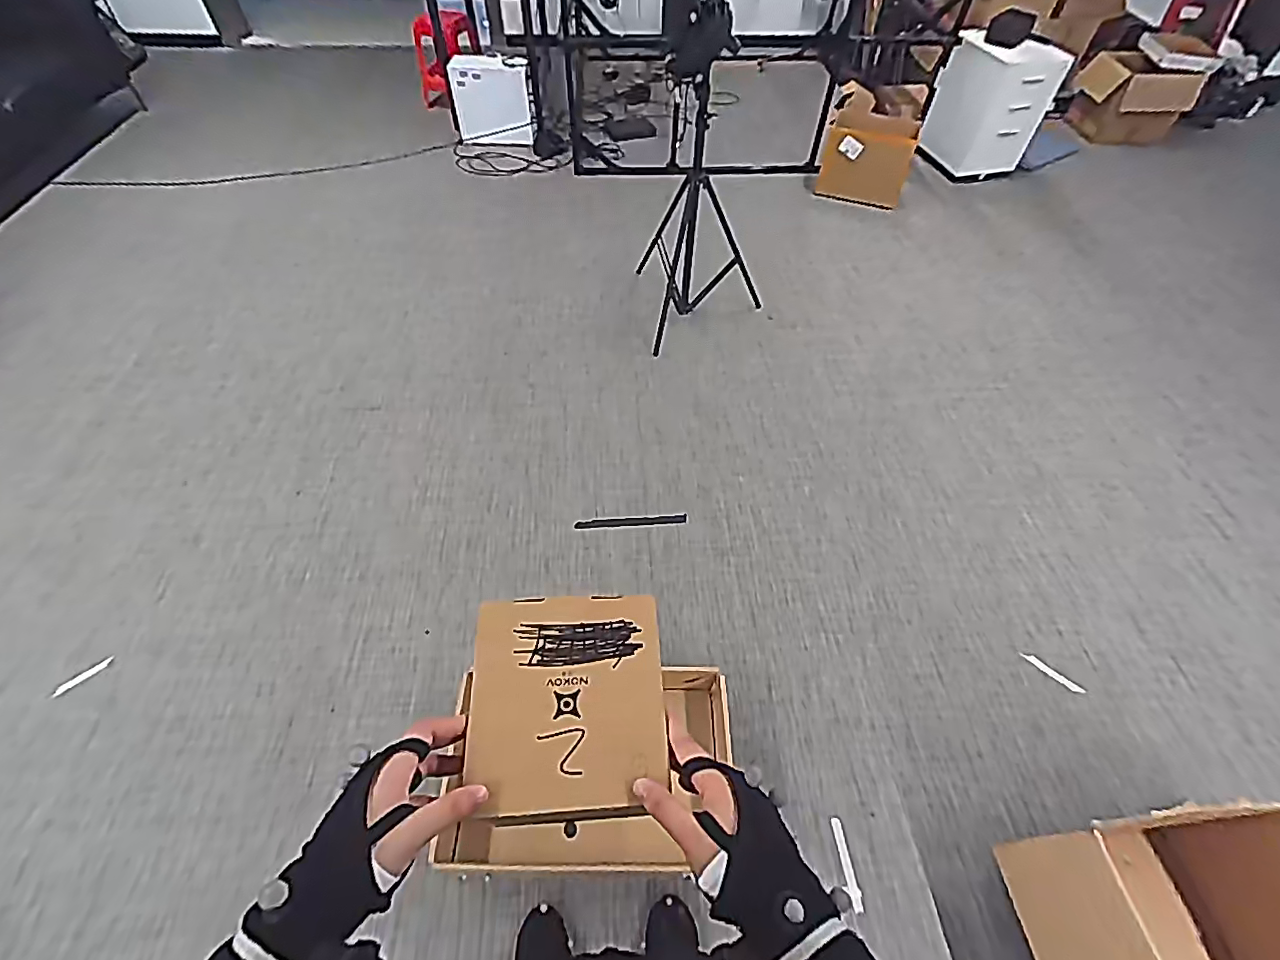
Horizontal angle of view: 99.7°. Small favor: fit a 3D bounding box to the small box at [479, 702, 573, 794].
[{"bbox_3d":[-0.251,0.616,1.237,0.179,0.176,0.168,2,55,-3],"label":"small box"}]
